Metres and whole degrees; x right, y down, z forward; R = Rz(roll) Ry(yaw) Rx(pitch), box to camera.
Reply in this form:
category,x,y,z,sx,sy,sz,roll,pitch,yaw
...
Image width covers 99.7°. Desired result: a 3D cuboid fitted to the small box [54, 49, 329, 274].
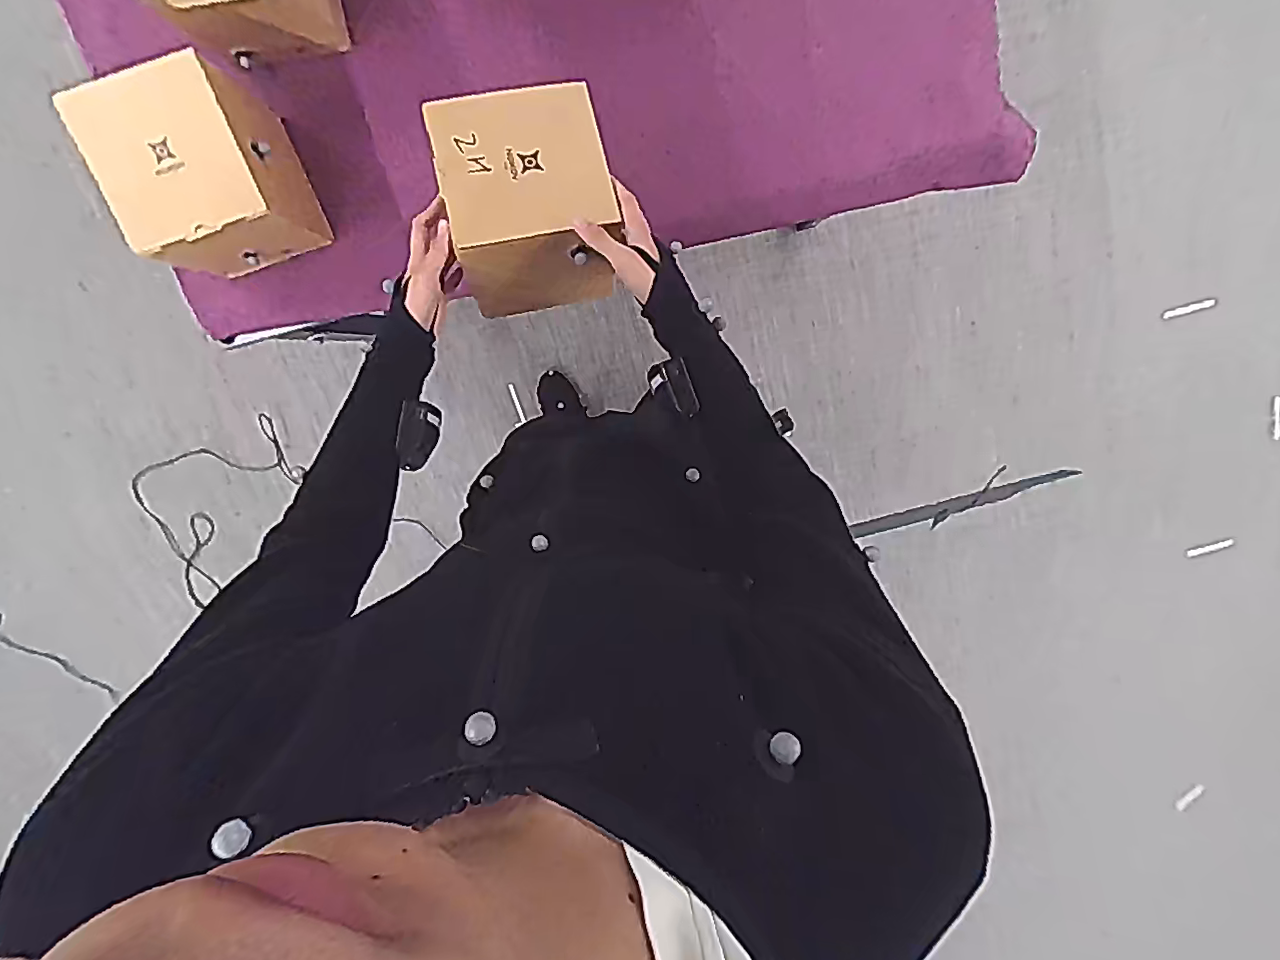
category,x,y,z,sx,sy,sz,roll,pitch,yaw
small box,-0.539,-0.381,0.682,0.168,0.176,0.179,-20,104,0

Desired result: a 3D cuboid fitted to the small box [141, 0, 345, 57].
category,x,y,z,sx,sy,sz,roll,pitch,yaw
small box,-0.477,-0.629,0.627,0.168,0.176,0.179,-10,104,-1

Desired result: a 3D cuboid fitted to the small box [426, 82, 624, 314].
category,x,y,z,sx,sy,sz,roll,pitch,yaw
small box,-0.126,-0.314,0.631,0.179,0.176,0.168,-13,85,-7
